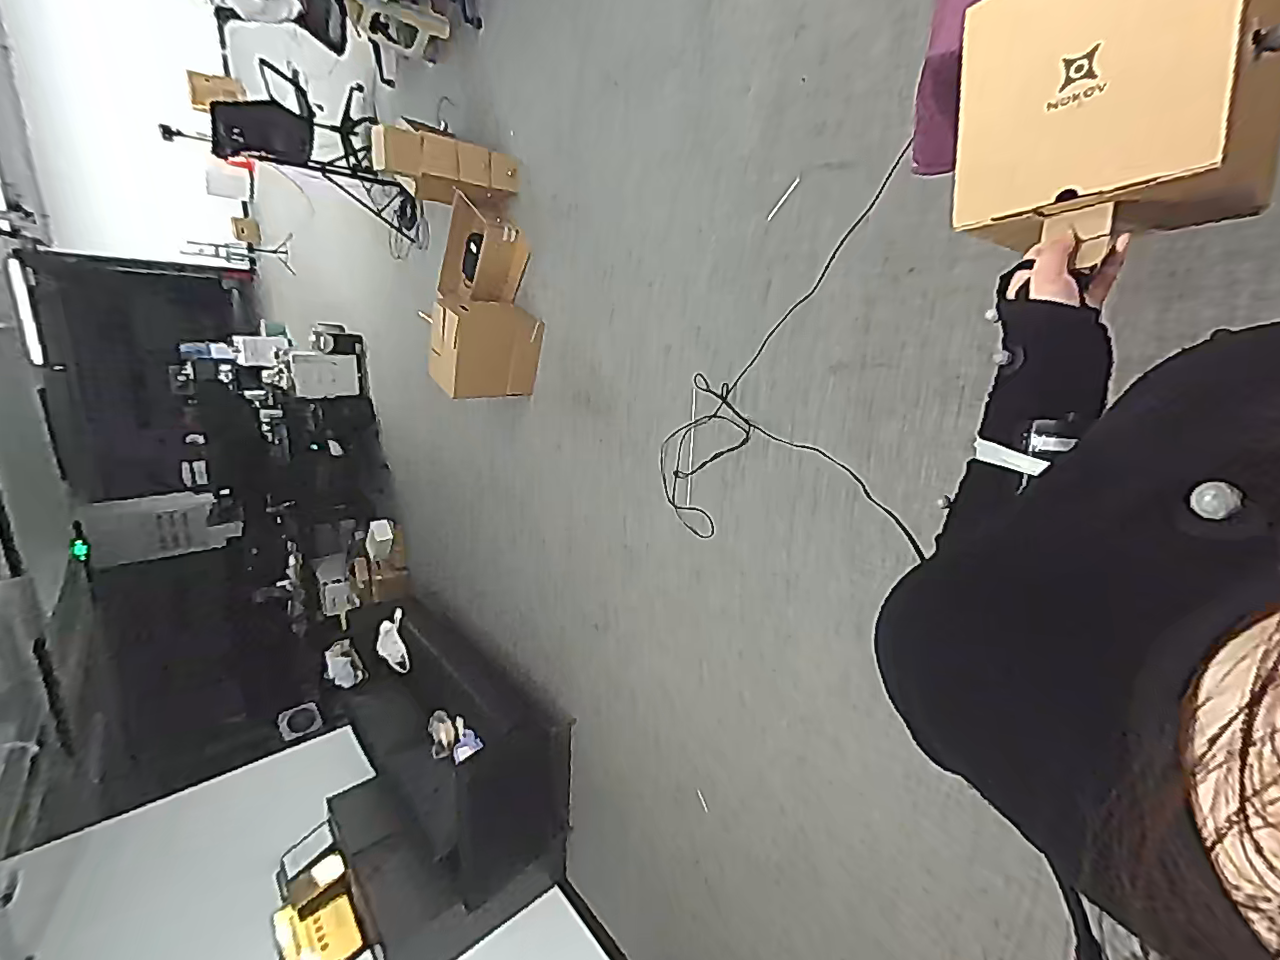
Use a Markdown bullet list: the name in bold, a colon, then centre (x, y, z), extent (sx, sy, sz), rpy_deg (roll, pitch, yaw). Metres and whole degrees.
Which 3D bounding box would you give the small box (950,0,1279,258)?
- **small box**: centre (0.384, -0.298, 0.443), extent (0.168, 0.176, 0.179), rpy_deg (11, 106, 53)
